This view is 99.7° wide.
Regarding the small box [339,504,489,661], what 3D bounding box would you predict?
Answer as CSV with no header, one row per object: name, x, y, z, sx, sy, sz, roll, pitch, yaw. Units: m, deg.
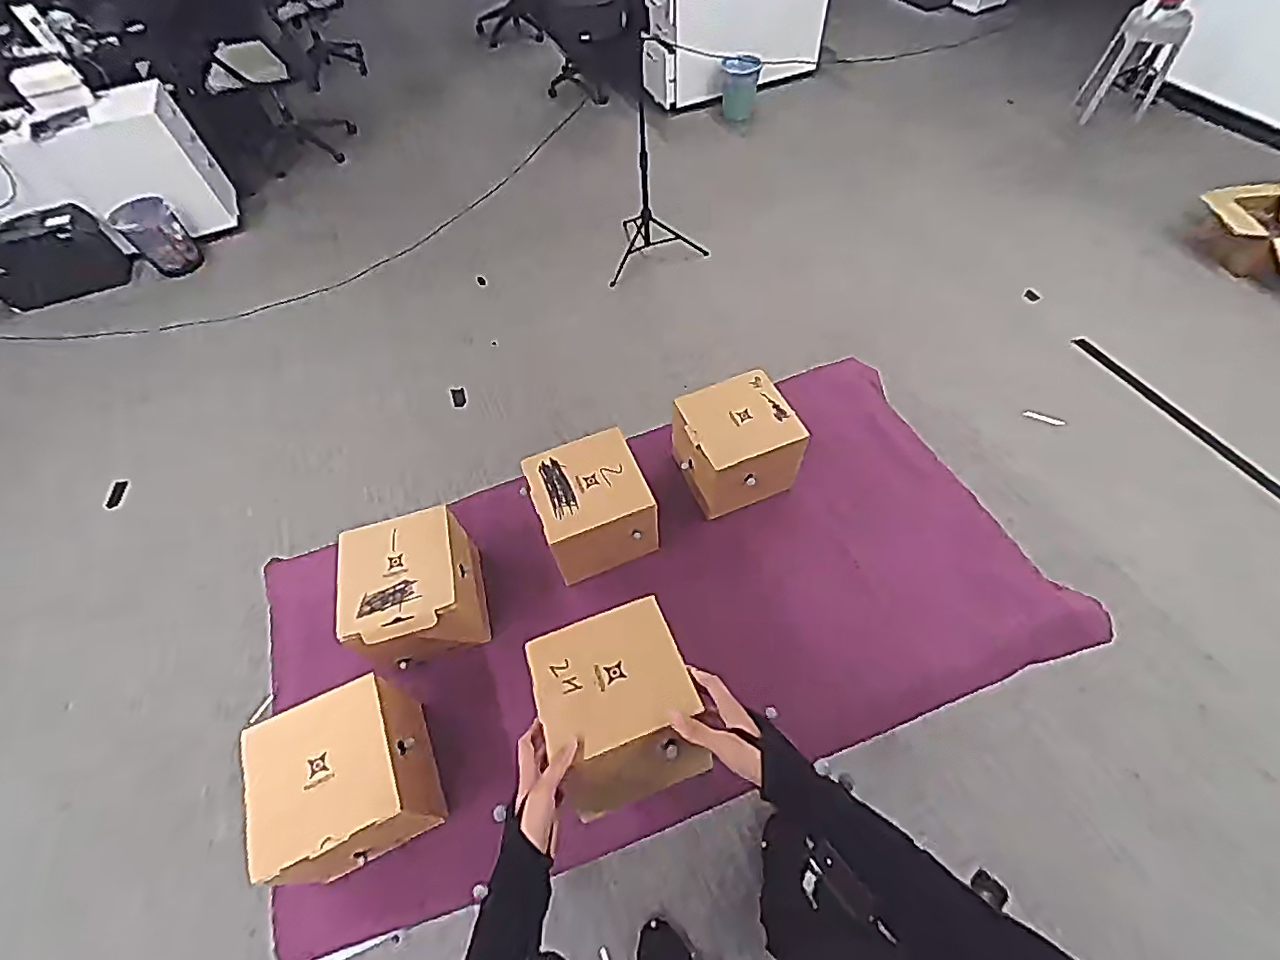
small box,-0.347,0.169,0.850,0.168,0.176,0.179,-16,57,-7

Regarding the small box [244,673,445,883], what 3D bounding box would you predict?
small box,-0.377,0.388,0.708,0.168,0.176,0.179,-23,59,-13

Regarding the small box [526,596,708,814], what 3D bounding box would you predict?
small box,-0.024,0.281,0.677,0.179,0.176,0.168,-20,44,-8
